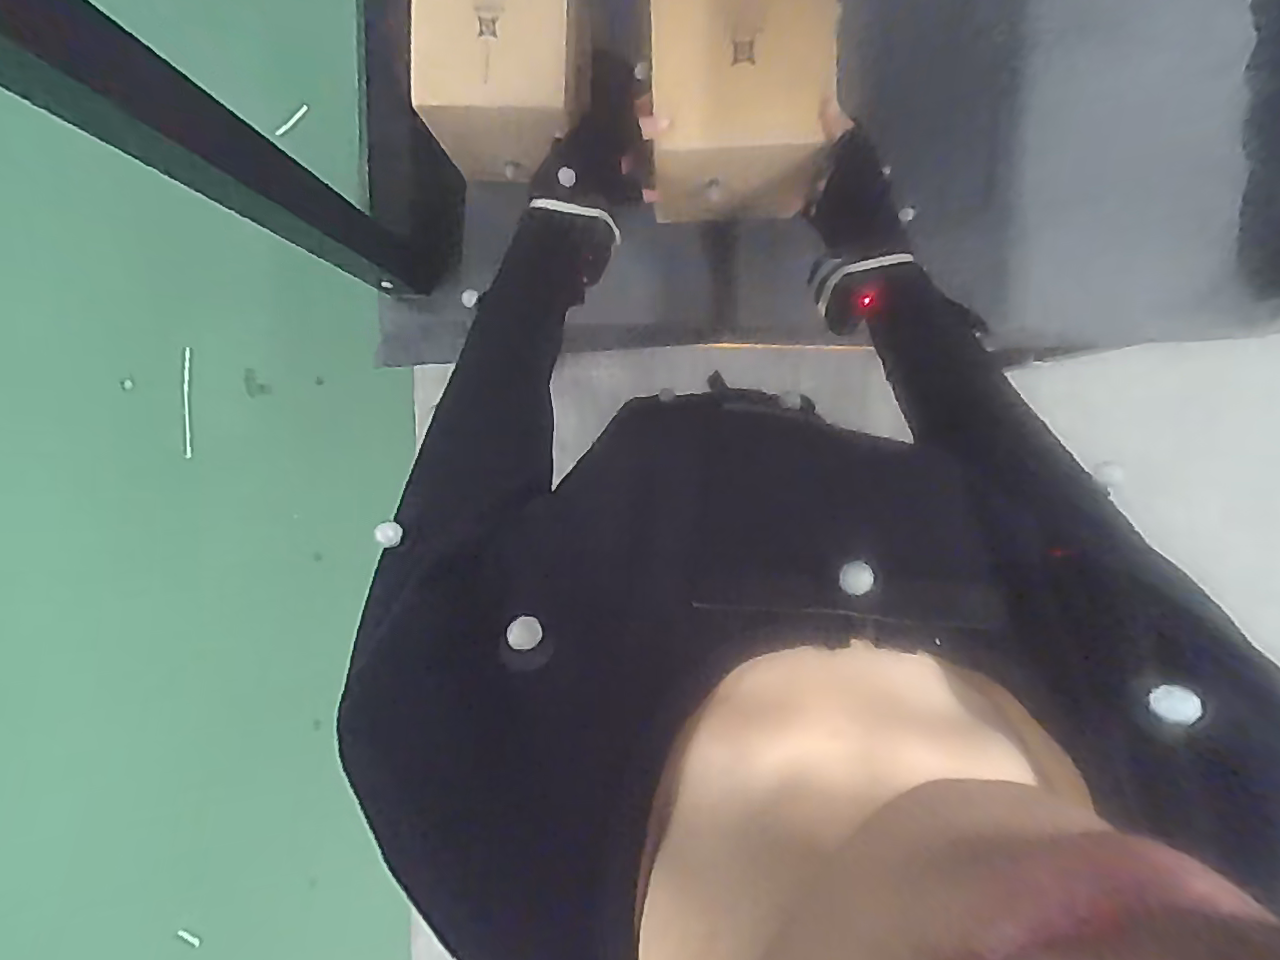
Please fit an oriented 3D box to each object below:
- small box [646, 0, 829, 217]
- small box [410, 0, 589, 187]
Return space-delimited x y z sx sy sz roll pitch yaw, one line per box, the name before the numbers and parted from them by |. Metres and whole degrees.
small box | 0.092 -0.393 0.568 0.168 0.176 0.179 -1 93 3
small box | -0.154 -0.480 0.643 0.168 0.176 0.179 3 94 2
